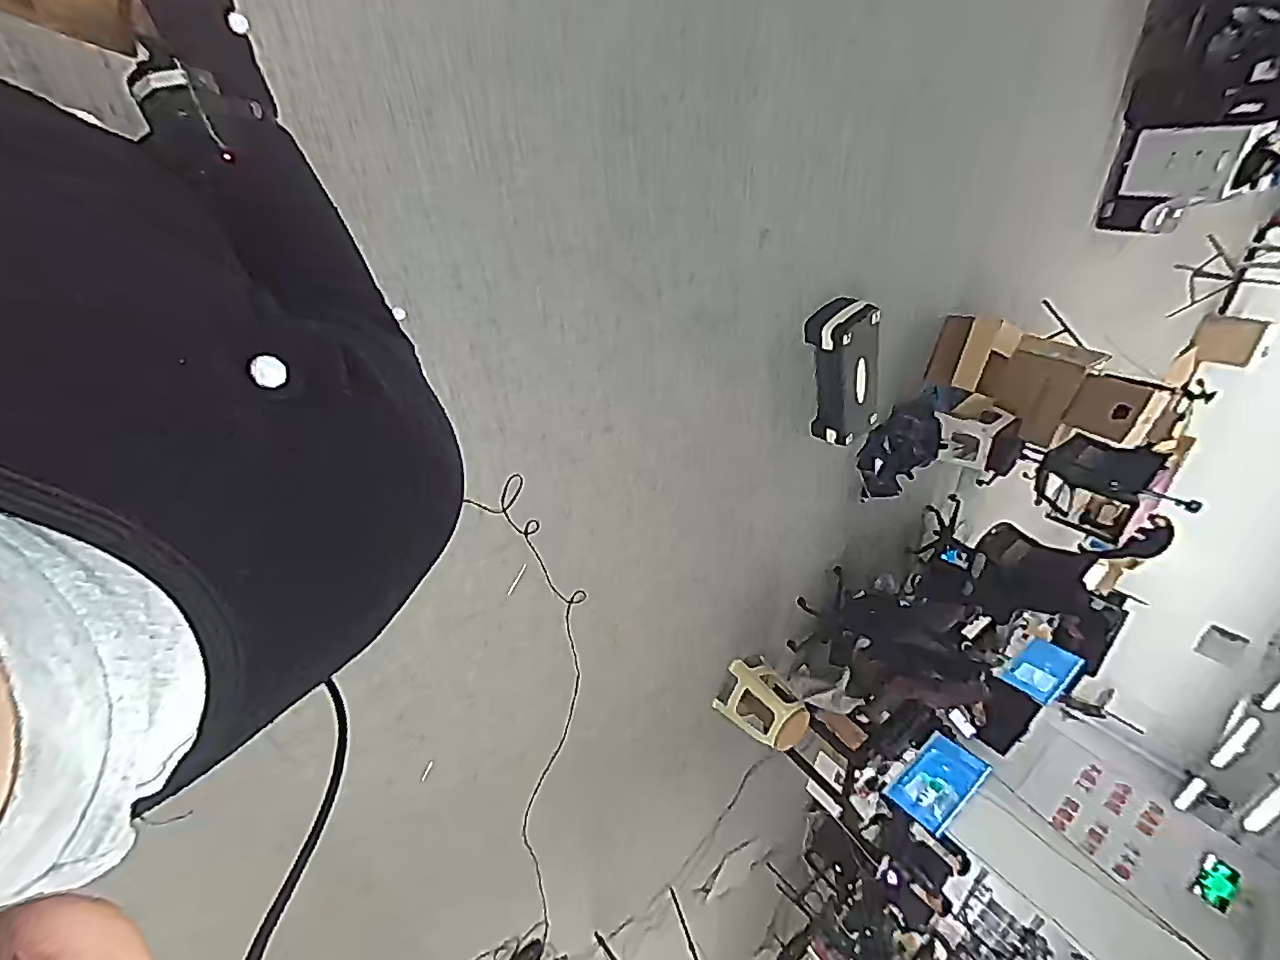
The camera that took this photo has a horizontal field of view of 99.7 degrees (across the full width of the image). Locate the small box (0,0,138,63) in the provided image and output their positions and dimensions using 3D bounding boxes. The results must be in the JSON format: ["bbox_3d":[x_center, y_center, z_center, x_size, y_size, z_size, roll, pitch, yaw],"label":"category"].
[{"bbox_3d":[-0.420,-0.413,0.326,0.168,0.176,0.179,0,87,-40],"label":"small box"}]
